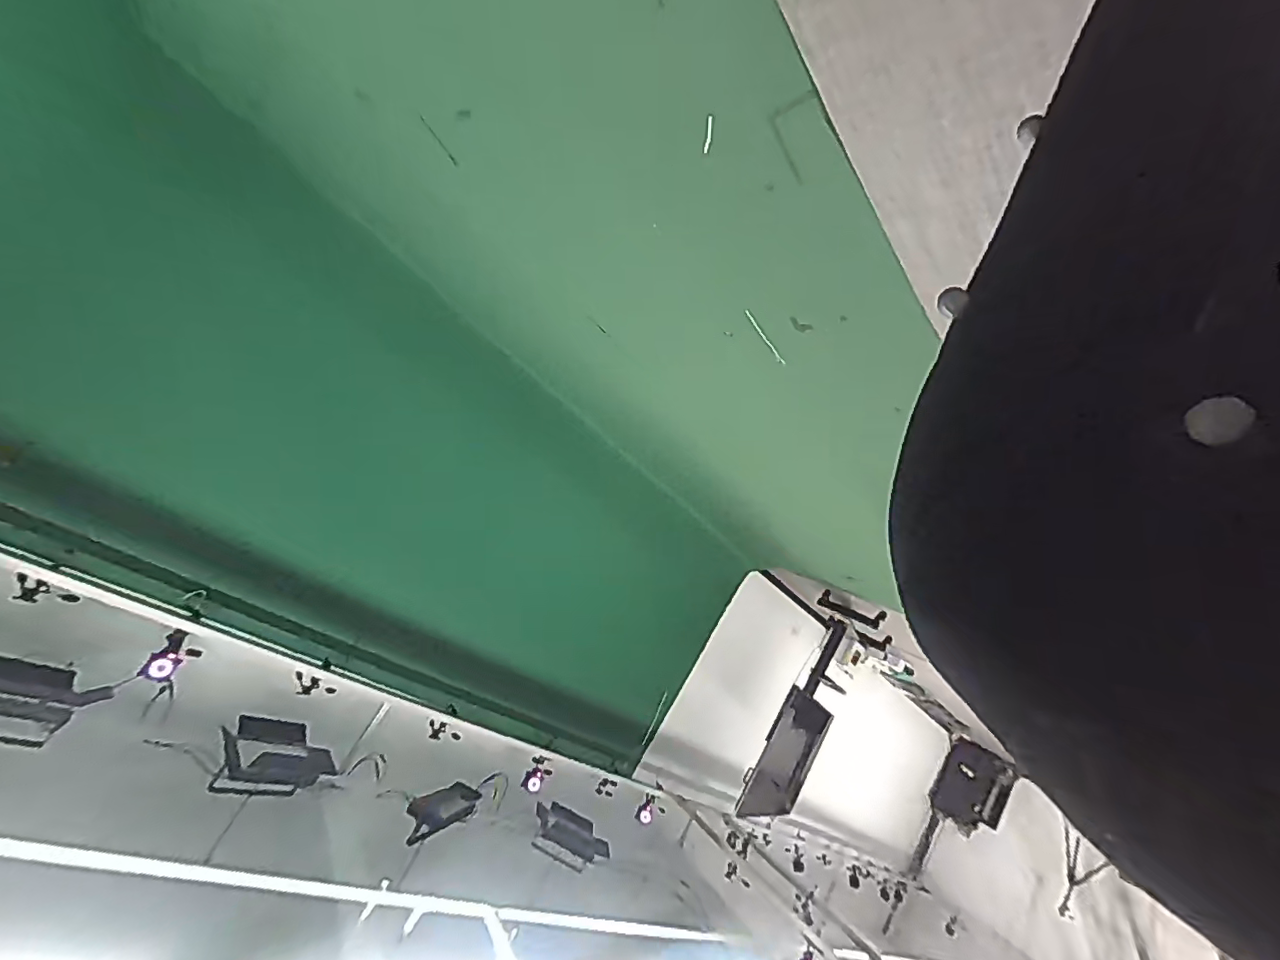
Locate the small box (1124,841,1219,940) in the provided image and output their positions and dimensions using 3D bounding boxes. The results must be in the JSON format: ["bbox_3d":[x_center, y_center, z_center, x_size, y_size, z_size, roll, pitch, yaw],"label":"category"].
[{"bbox_3d":[1.594,1.221,1.619,0.179,0.176,0.168,40,165,-32],"label":"small box"}]
